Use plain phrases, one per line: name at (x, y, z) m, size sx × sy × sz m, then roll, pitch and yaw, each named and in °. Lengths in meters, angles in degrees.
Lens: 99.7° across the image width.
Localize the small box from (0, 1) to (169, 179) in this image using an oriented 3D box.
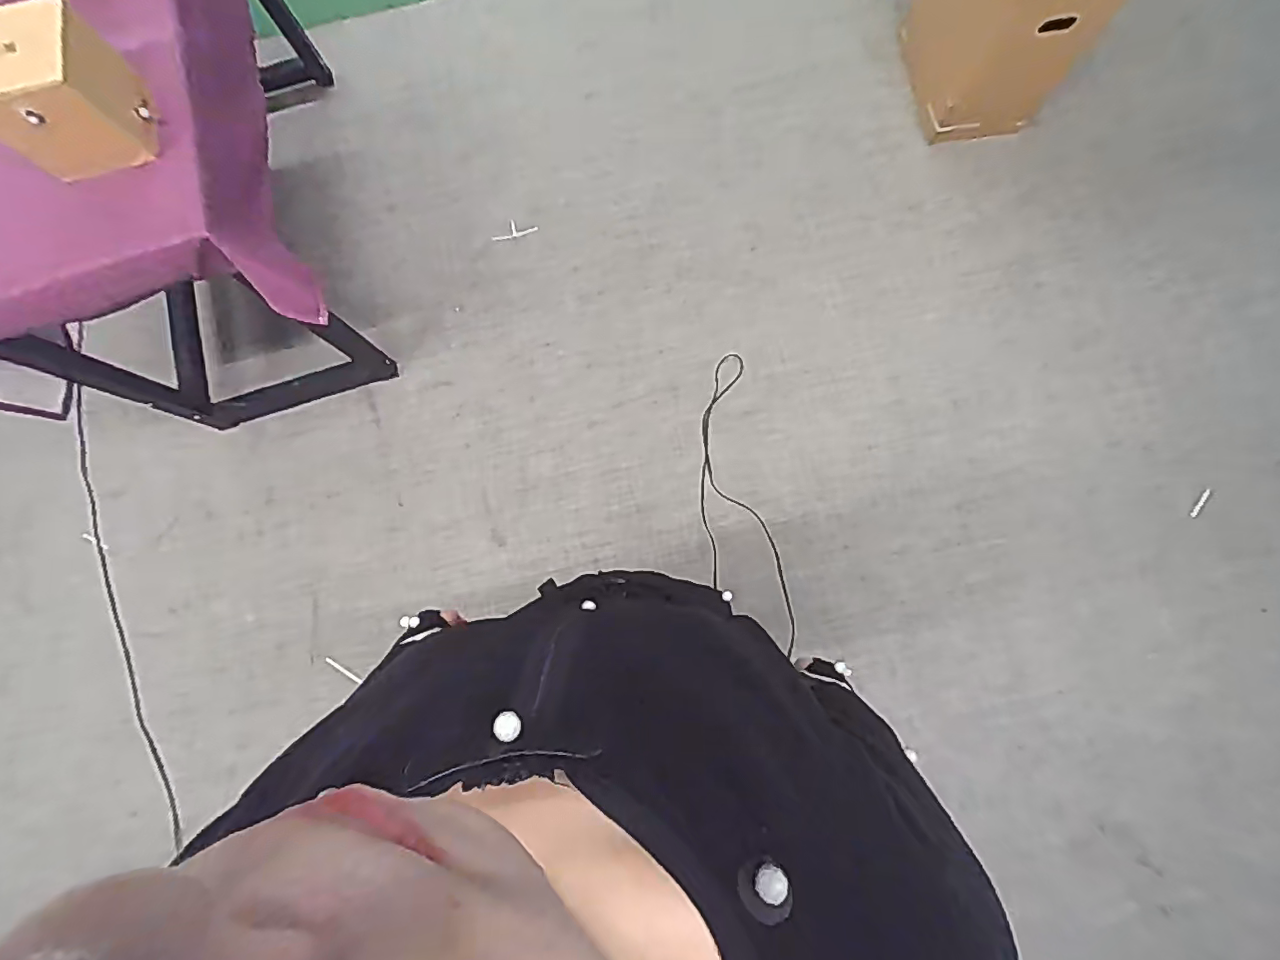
small box at (-0.961, -0.650, 0.922) m, size 0.179 × 0.176 × 0.168 m, roll -11°, pitch 80°, yaw 1°
